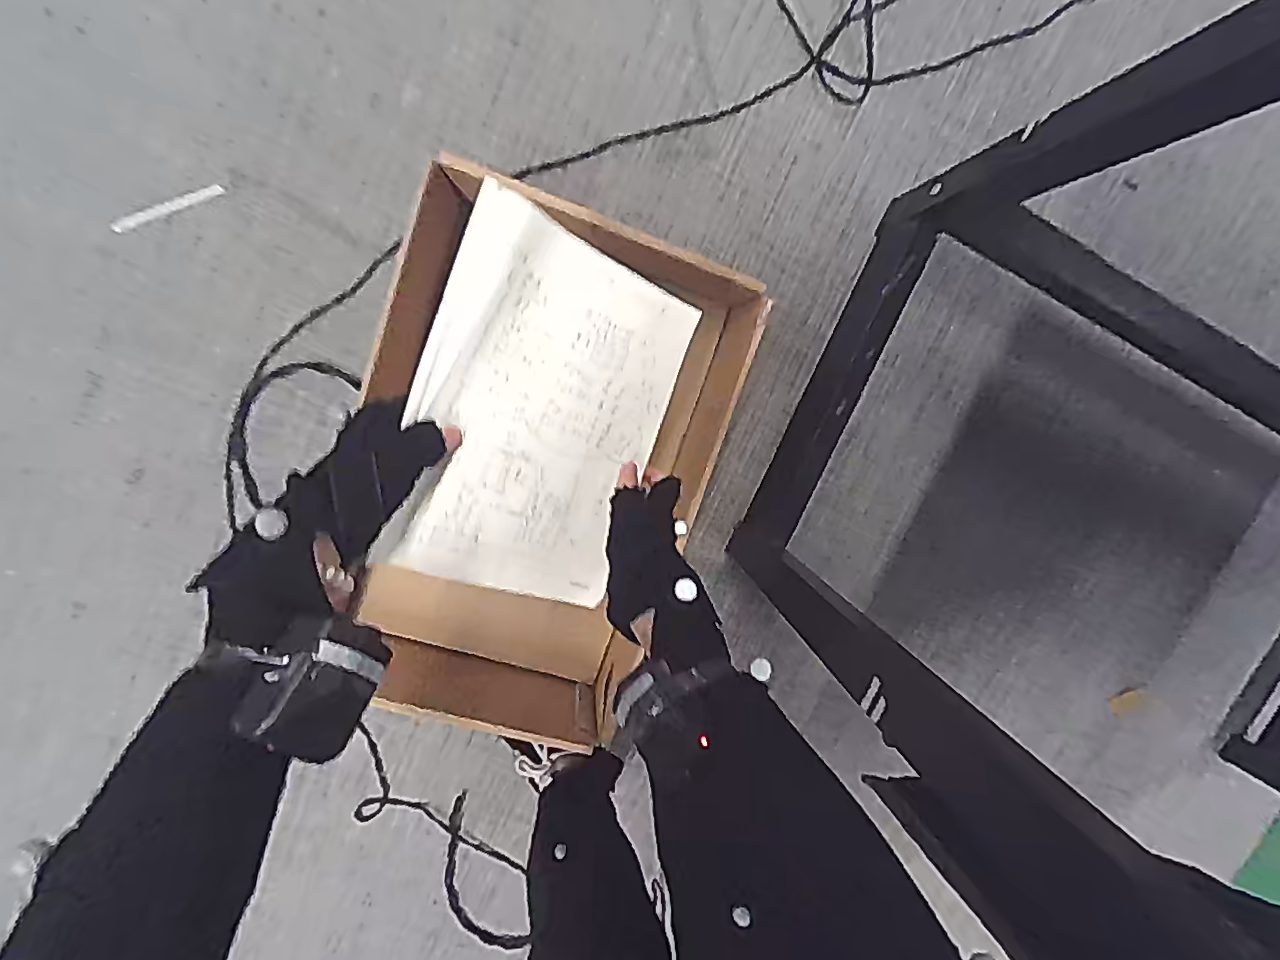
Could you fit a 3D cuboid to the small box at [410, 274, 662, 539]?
[{"bbox_3d":[-0.106,-0.059,0.515,0.168,0.176,0.179,19,86,-23],"label":"small box"}]
